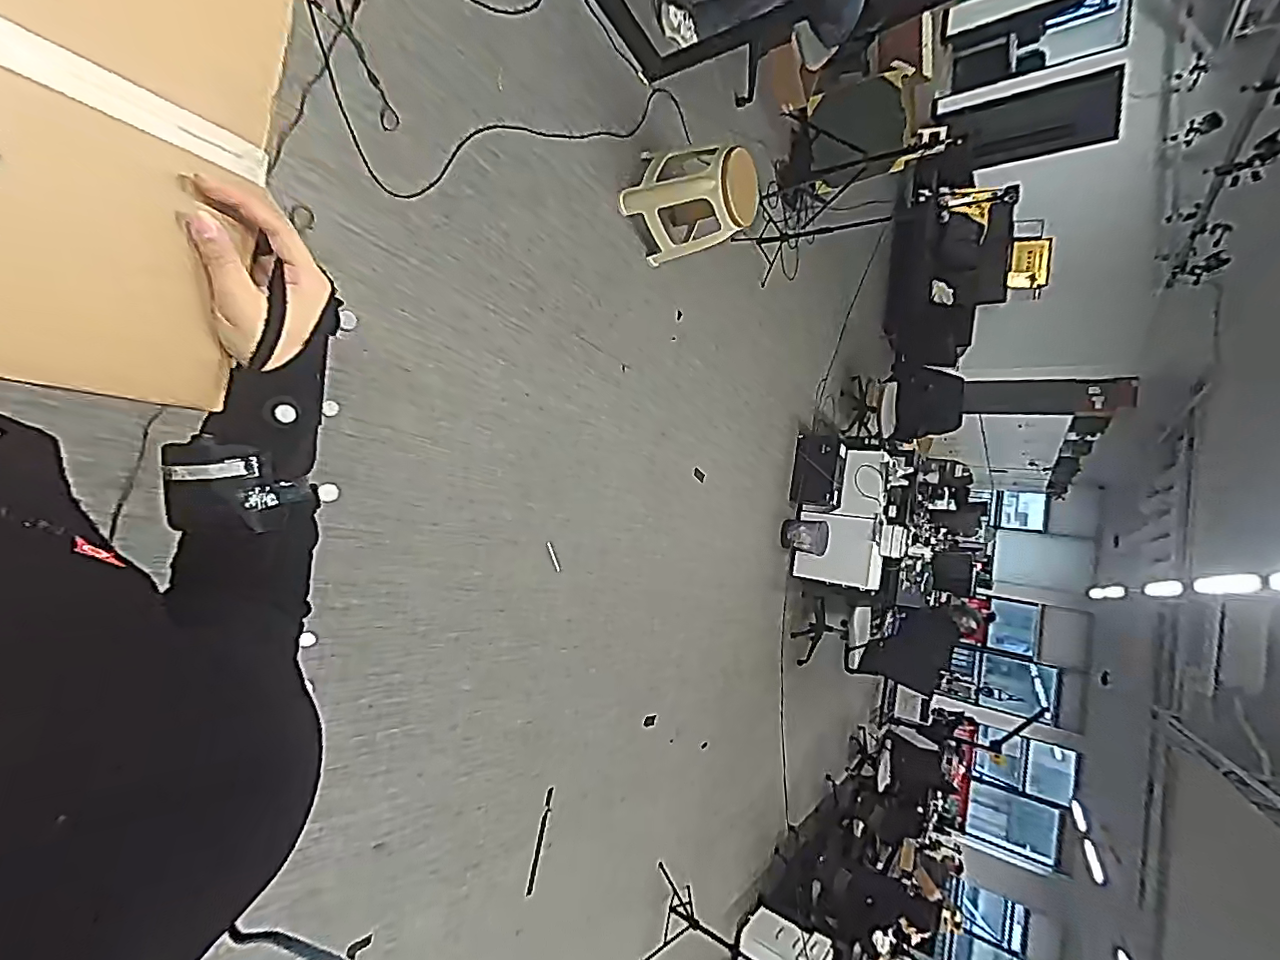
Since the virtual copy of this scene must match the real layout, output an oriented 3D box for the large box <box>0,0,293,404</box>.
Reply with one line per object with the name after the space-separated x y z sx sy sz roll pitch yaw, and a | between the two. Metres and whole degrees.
-0.480 -0.238 0.280 0.408 0.320 0.320 7 96 -55 | large box
